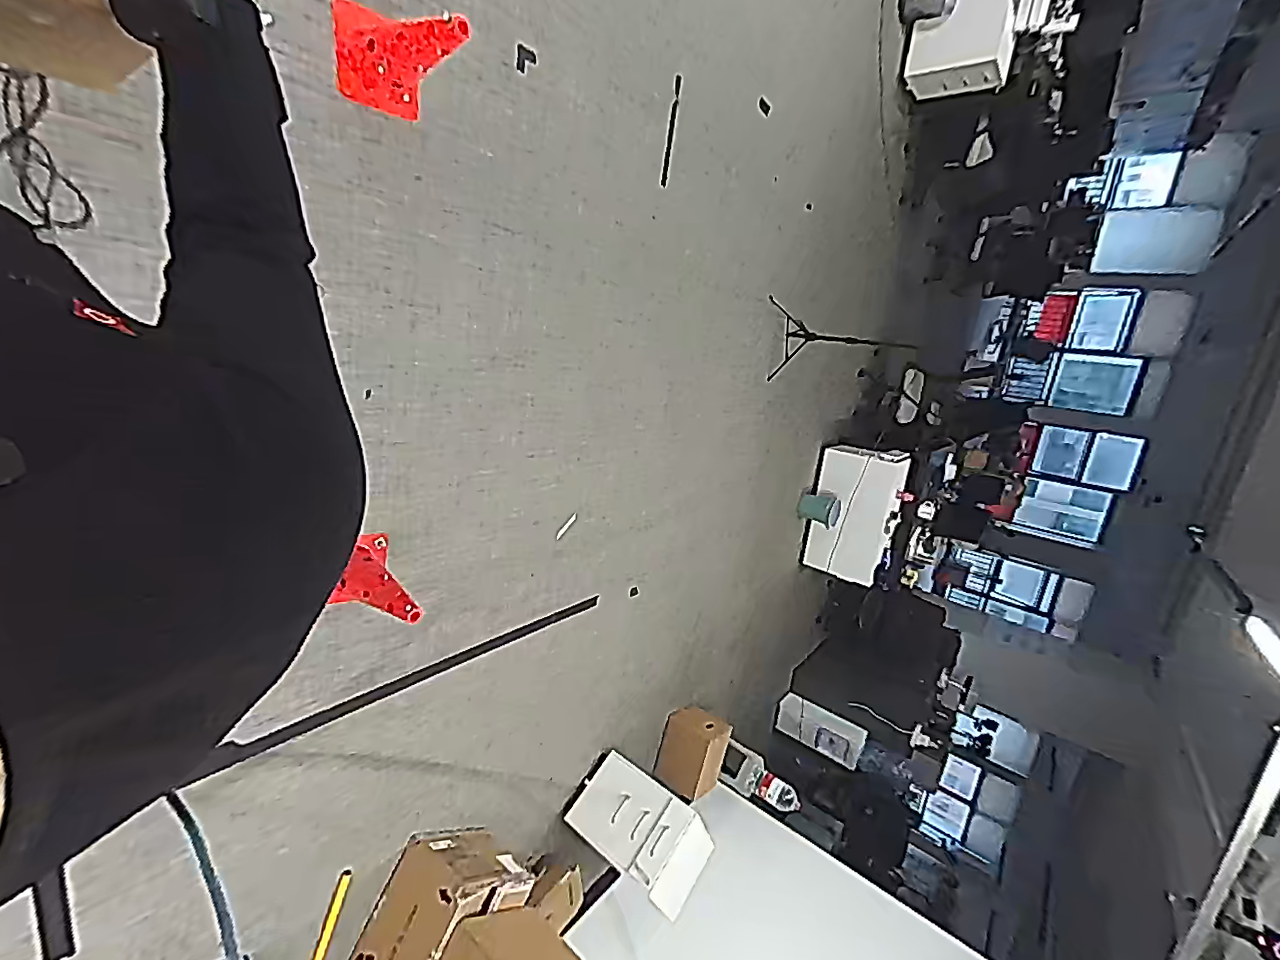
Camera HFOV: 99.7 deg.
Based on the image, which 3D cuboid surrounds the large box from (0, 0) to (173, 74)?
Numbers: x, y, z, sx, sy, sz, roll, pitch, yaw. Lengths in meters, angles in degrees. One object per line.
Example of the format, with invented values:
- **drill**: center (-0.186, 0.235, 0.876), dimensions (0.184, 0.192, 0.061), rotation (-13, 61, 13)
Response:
- **large box**: center (-0.550, -0.482, 0.275), dimensions (0.408, 0.320, 0.320), rotation (-13, 118, -49)

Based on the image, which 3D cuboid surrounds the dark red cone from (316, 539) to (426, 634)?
- **dark red cone**: center (-0.682, 0.305, 1.430), dimensions (0.201, 0.394, 0.202), rotation (-1, 105, -51)

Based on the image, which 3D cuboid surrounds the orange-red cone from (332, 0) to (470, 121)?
- **orange-red cone**: center (-0.497, -0.960, 1.193), dimensions (0.198, 0.360, 0.199), rotation (-14, 114, -51)
